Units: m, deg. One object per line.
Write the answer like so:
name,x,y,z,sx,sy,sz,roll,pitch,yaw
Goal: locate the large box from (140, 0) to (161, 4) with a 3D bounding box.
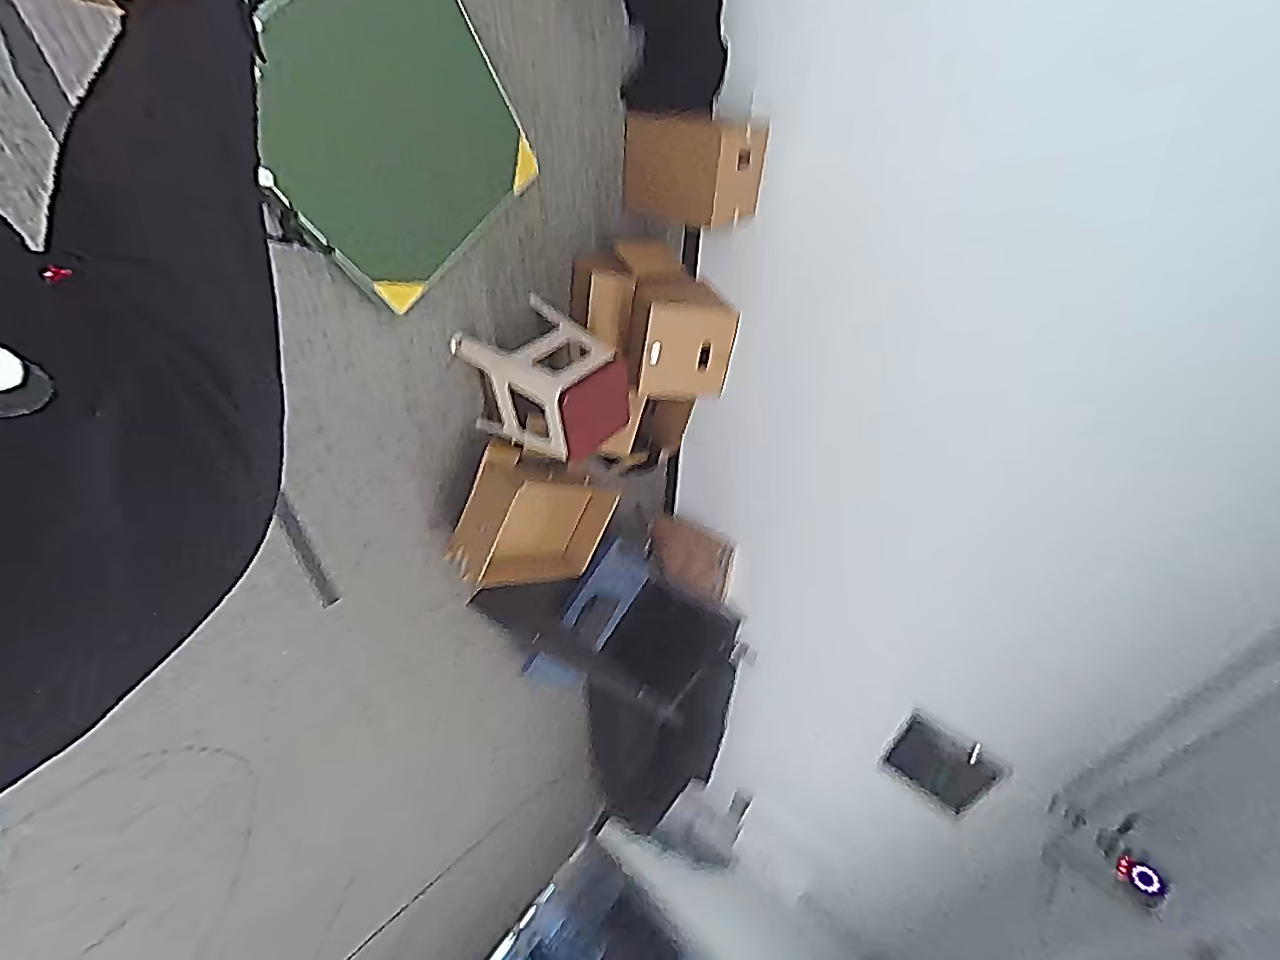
large box,-0.543,-0.596,0.304,0.408,0.320,0.320,3,116,-62
